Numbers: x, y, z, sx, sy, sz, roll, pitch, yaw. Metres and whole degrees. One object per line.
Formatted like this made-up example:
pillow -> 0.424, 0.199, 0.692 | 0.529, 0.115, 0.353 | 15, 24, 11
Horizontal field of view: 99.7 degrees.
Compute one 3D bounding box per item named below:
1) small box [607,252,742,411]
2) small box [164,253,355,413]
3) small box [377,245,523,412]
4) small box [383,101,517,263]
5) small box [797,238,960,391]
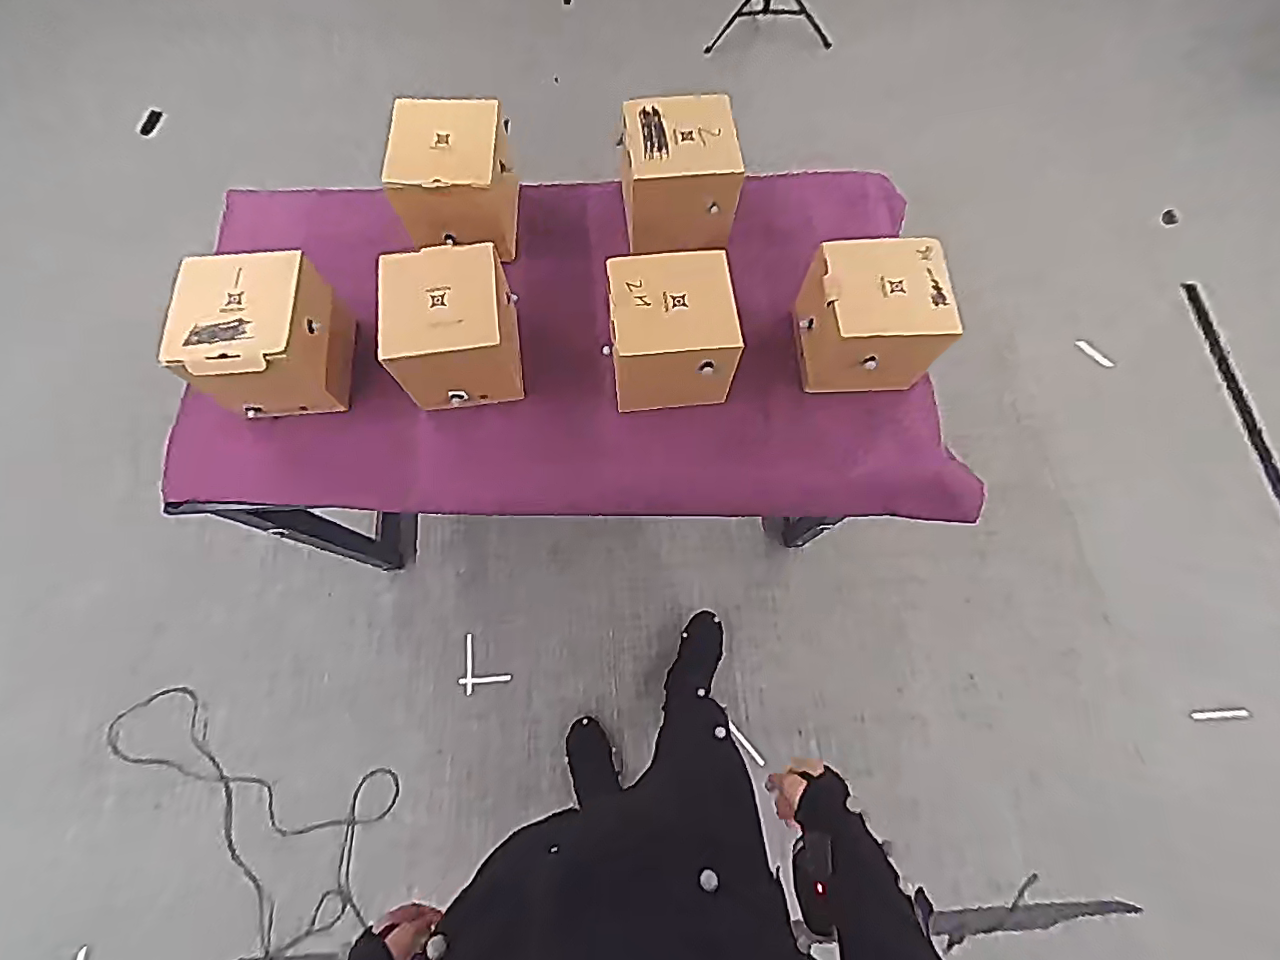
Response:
small box -> 0.044, -0.219, 0.826 | 0.179, 0.176, 0.168 | -5, 71, -2
small box -> -0.555, -0.211, 0.816 | 0.168, 0.176, 0.179 | -5, 71, -3
small box -> -0.281, -0.225, 0.826 | 0.168, 0.176, 0.179 | -8, 72, -2
small box -> -0.306, -0.494, 0.909 | 0.168, 0.176, 0.179 | -1, 73, -1
small box -> 0.351, -0.247, 0.839 | 0.179, 0.176, 0.168 | -2, 73, 0
